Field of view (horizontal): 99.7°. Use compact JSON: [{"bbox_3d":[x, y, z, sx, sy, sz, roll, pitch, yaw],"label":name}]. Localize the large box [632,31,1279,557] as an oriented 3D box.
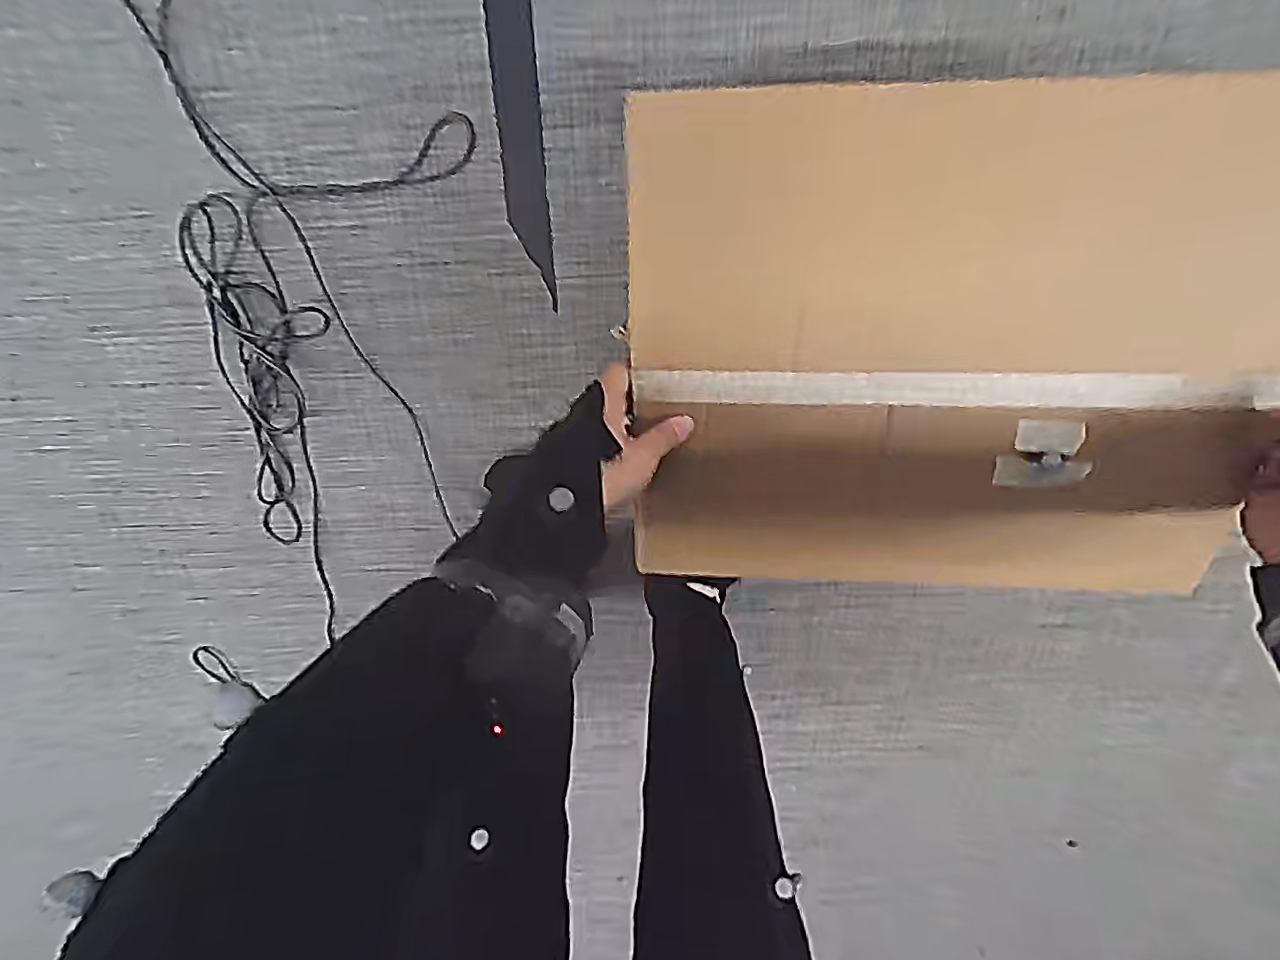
[{"bbox_3d":[0.208,-0.147,0.468,0.408,0.320,0.320,0,119,4],"label":"large box"}]
